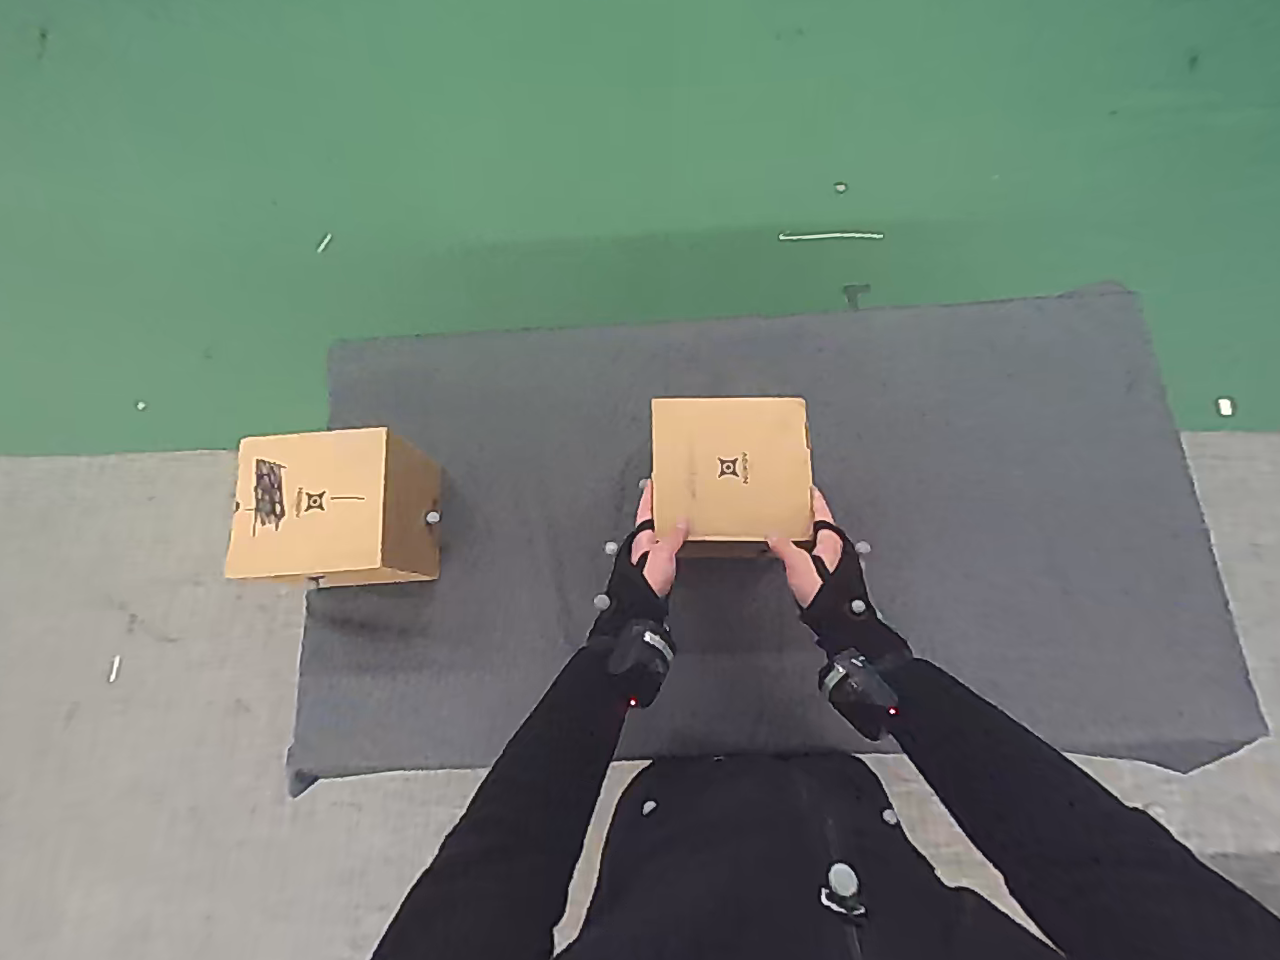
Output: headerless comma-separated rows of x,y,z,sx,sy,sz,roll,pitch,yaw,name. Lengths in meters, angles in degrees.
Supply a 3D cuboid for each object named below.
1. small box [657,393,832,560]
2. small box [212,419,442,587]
0.113,0.004,0.658,0.179,0.176,0.168,-1,74,0,small box
-0.358,0.037,0.654,0.179,0.176,0.168,-4,75,-2,small box
